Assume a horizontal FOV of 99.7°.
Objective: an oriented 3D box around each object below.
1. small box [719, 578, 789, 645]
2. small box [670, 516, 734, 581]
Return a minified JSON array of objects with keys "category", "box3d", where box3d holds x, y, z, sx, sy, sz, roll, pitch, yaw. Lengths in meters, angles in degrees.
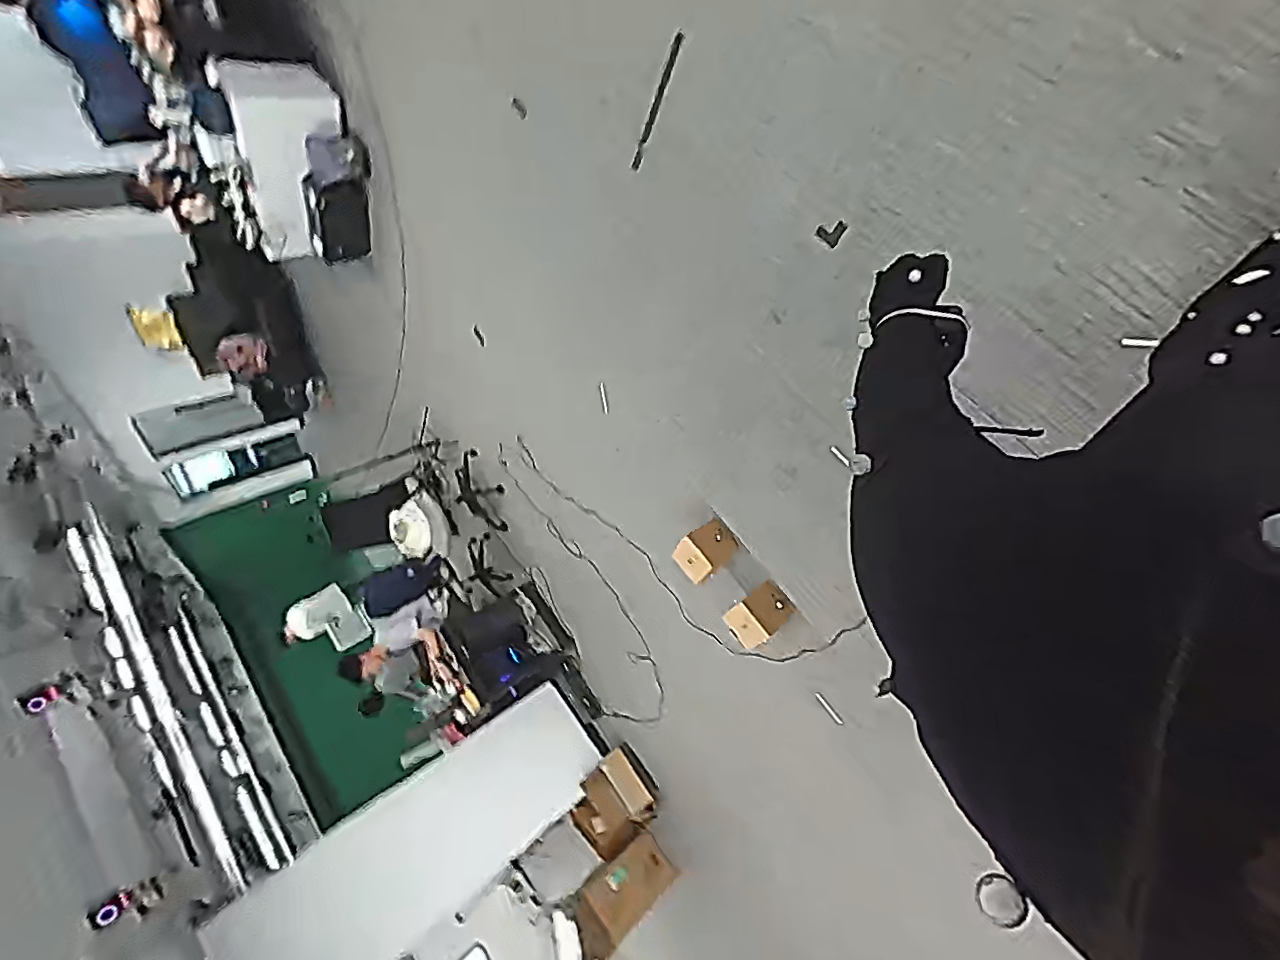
[{"category":"small box","box3d":[0.450,0.518,2.129,0.168,0.176,0.179,52,143,14]},{"category":"small box","box3d":[0.256,0.278,2.218,0.168,0.176,0.179,50,143,17]}]
